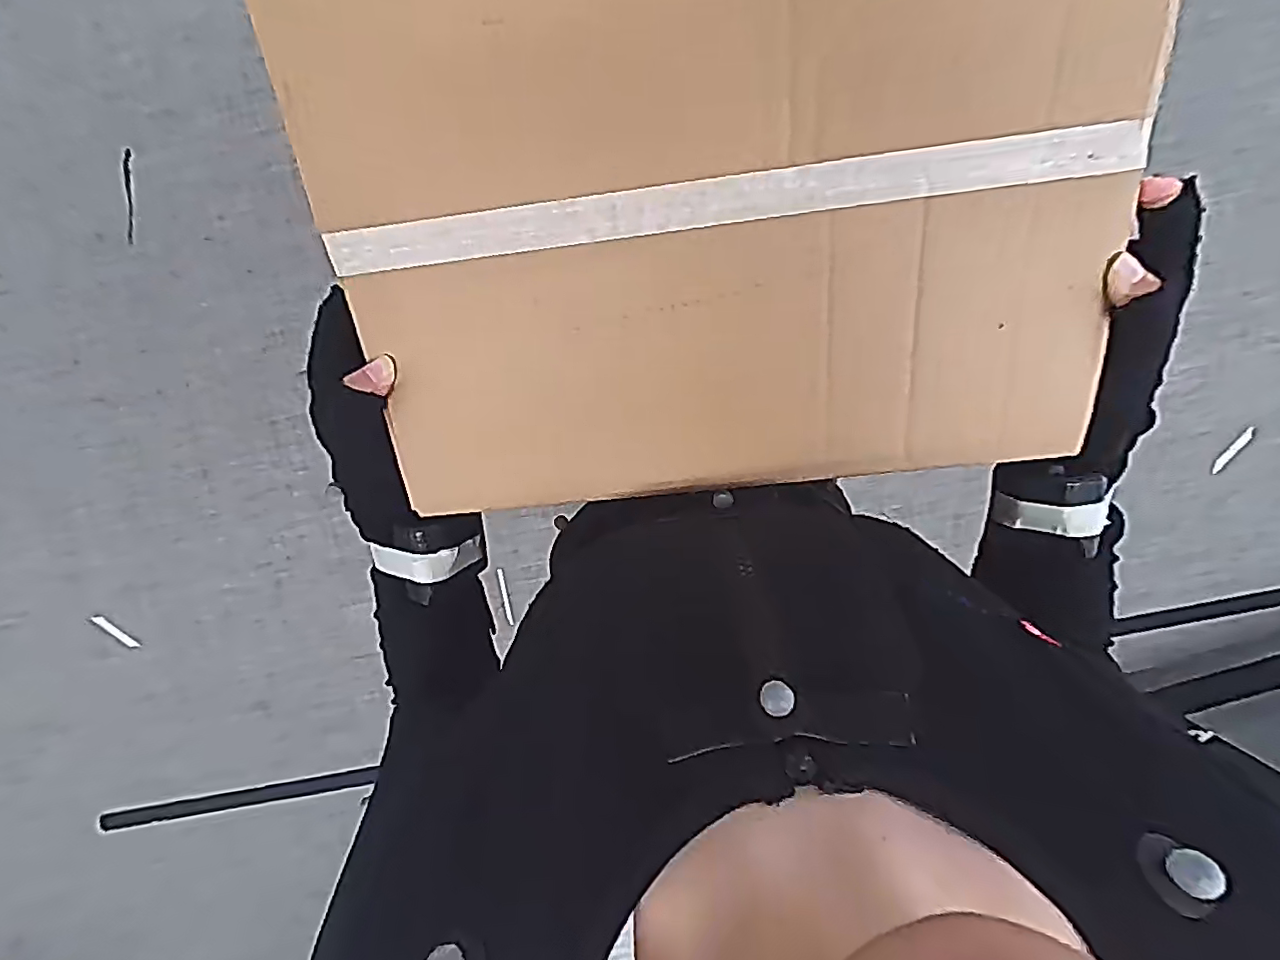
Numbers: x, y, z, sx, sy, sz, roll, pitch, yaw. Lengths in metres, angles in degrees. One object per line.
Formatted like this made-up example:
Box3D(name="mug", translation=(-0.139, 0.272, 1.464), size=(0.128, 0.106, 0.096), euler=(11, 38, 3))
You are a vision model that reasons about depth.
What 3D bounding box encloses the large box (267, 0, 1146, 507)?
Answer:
Box3D(name="large box", translation=(0.039, -0.200, 0.418), size=(0.408, 0.320, 0.320), euler=(-6, 114, 4))
